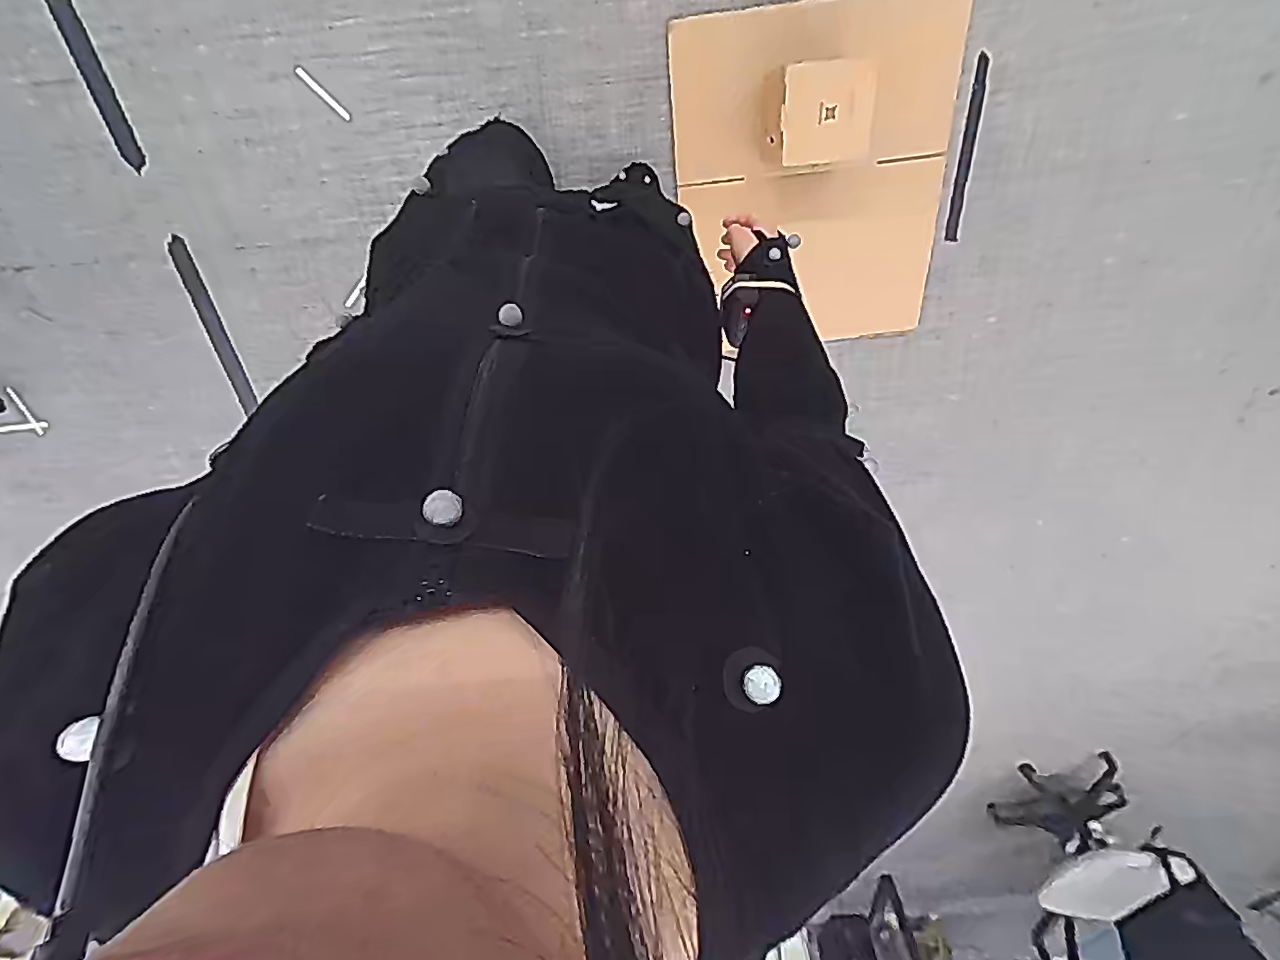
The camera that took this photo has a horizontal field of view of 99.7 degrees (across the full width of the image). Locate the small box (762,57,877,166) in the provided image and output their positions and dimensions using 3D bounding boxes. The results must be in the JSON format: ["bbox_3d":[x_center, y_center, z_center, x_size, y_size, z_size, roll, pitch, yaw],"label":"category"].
[{"bbox_3d":[0.351,-0.741,1.097,0.179,0.176,0.168,-5,124,1],"label":"small box"}]
